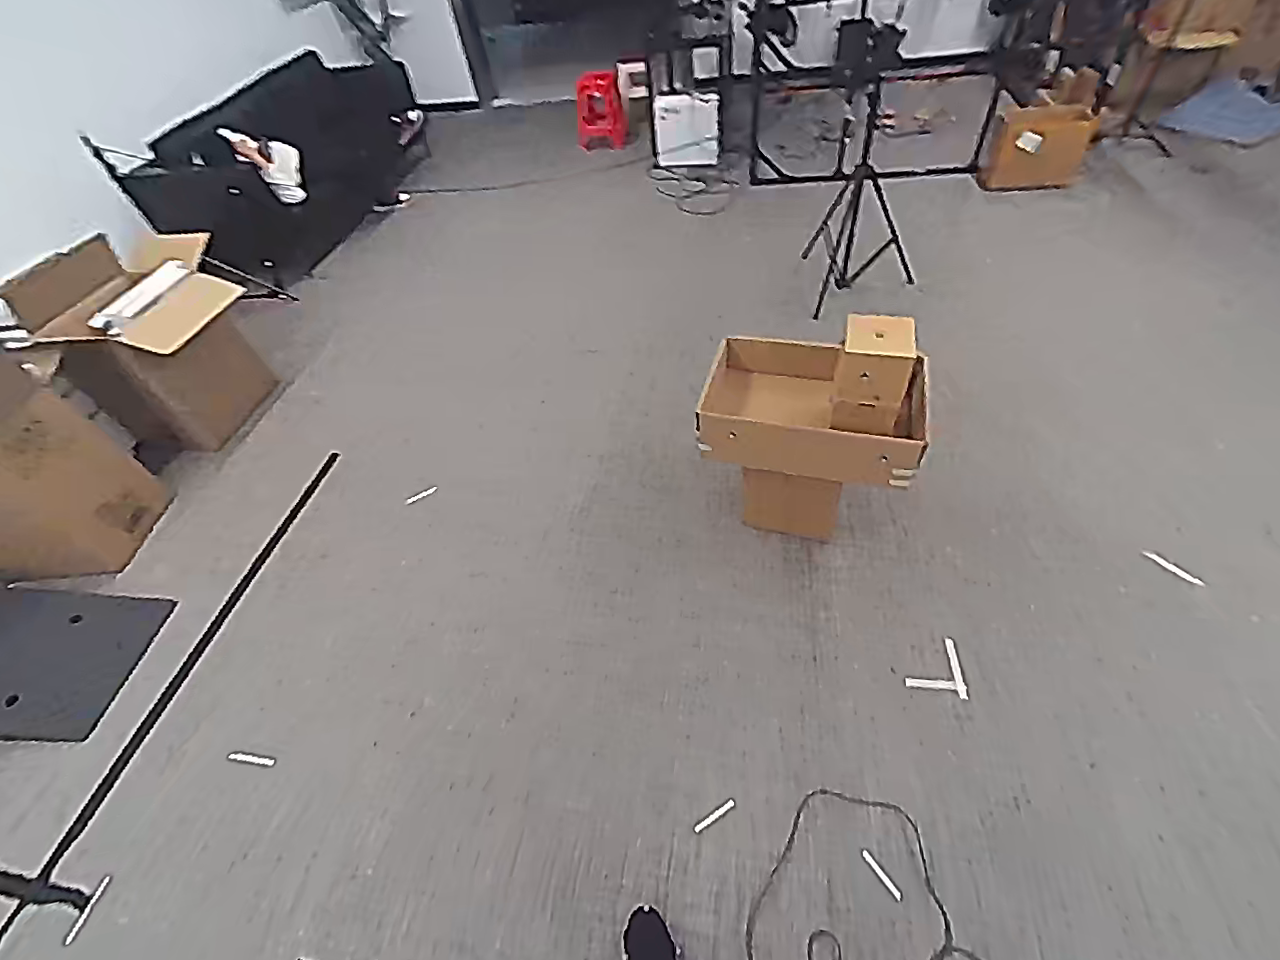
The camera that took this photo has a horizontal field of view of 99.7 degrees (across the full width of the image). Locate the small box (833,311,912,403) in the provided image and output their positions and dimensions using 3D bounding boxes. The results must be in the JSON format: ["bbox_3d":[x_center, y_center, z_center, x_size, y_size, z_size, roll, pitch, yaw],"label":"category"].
[{"bbox_3d":[0.611,-0.324,1.432,0.168,0.176,0.179,8,50,15],"label":"small box"}]

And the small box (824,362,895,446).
[{"bbox_3d":[0.628,-0.216,1.553,0.168,0.176,0.179,8,50,15],"label":"small box"}]
